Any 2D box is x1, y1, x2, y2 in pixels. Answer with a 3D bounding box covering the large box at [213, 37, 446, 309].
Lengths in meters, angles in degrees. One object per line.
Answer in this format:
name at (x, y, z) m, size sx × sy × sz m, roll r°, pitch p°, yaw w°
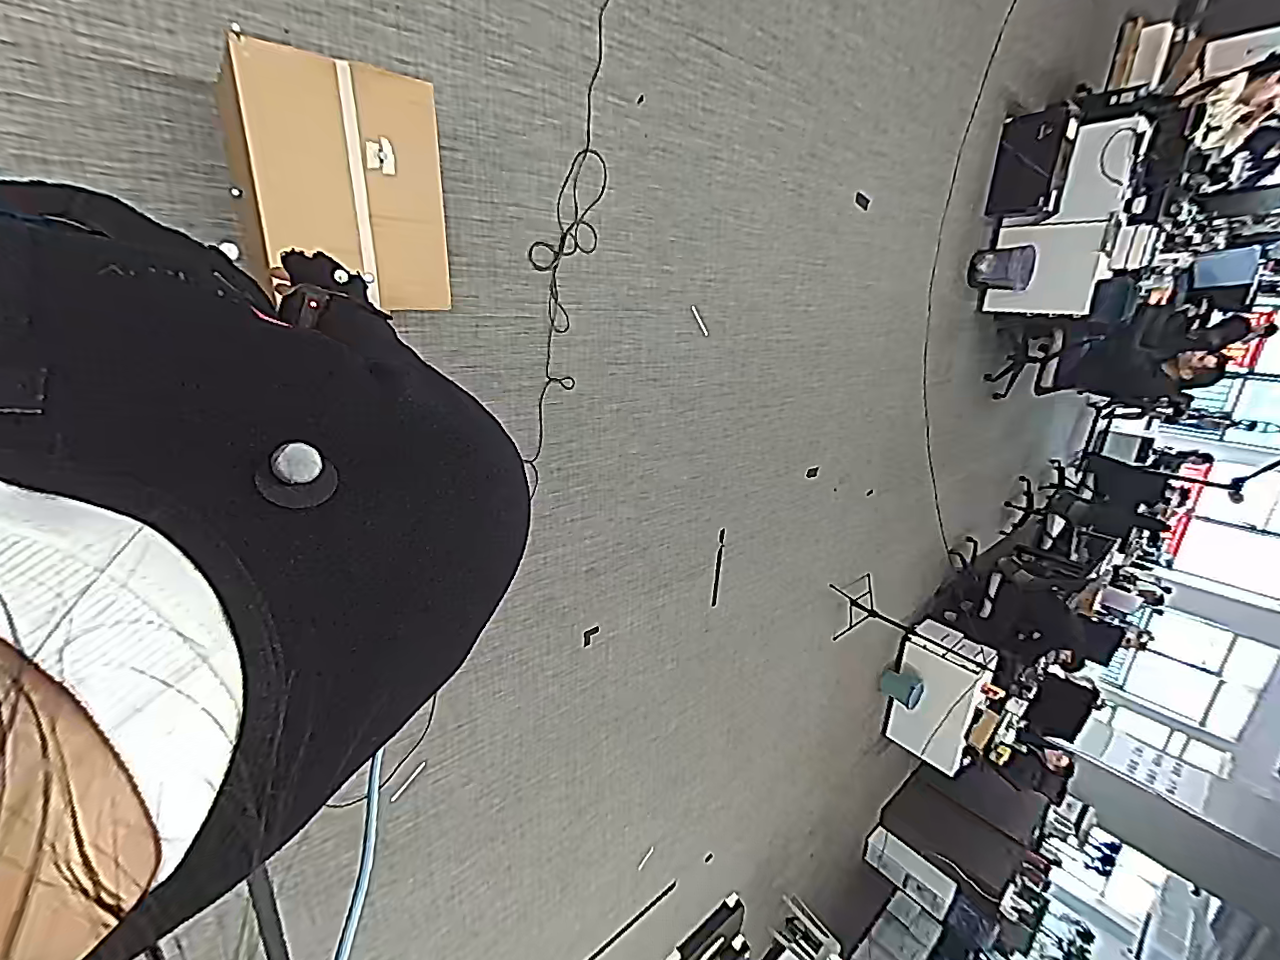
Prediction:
large box at (-0.621, -0.562, 1.093) m, size 0.320 × 0.320 × 0.408 m, roll -15°, pitch 114°, yaw -39°
